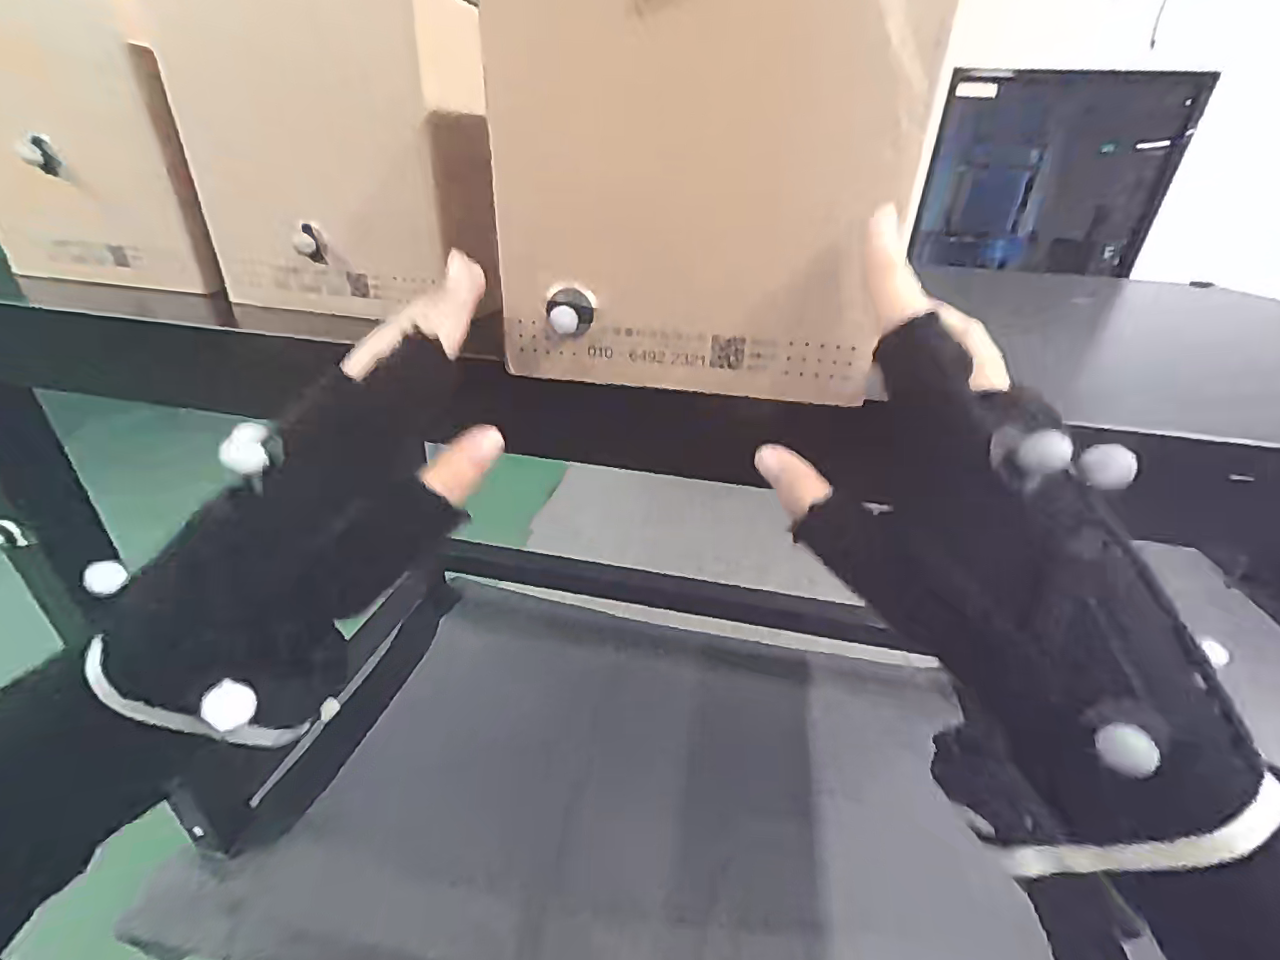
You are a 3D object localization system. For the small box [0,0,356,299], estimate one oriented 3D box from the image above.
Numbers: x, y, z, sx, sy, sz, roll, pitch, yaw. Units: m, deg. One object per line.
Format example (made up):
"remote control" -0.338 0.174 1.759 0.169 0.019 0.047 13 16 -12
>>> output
"small box" -0.357 -0.246 0.427 0.168 0.176 0.179 9 29 9

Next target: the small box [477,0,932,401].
"small box" 0.033 -0.150 0.290 0.168 0.176 0.179 7 28 7
